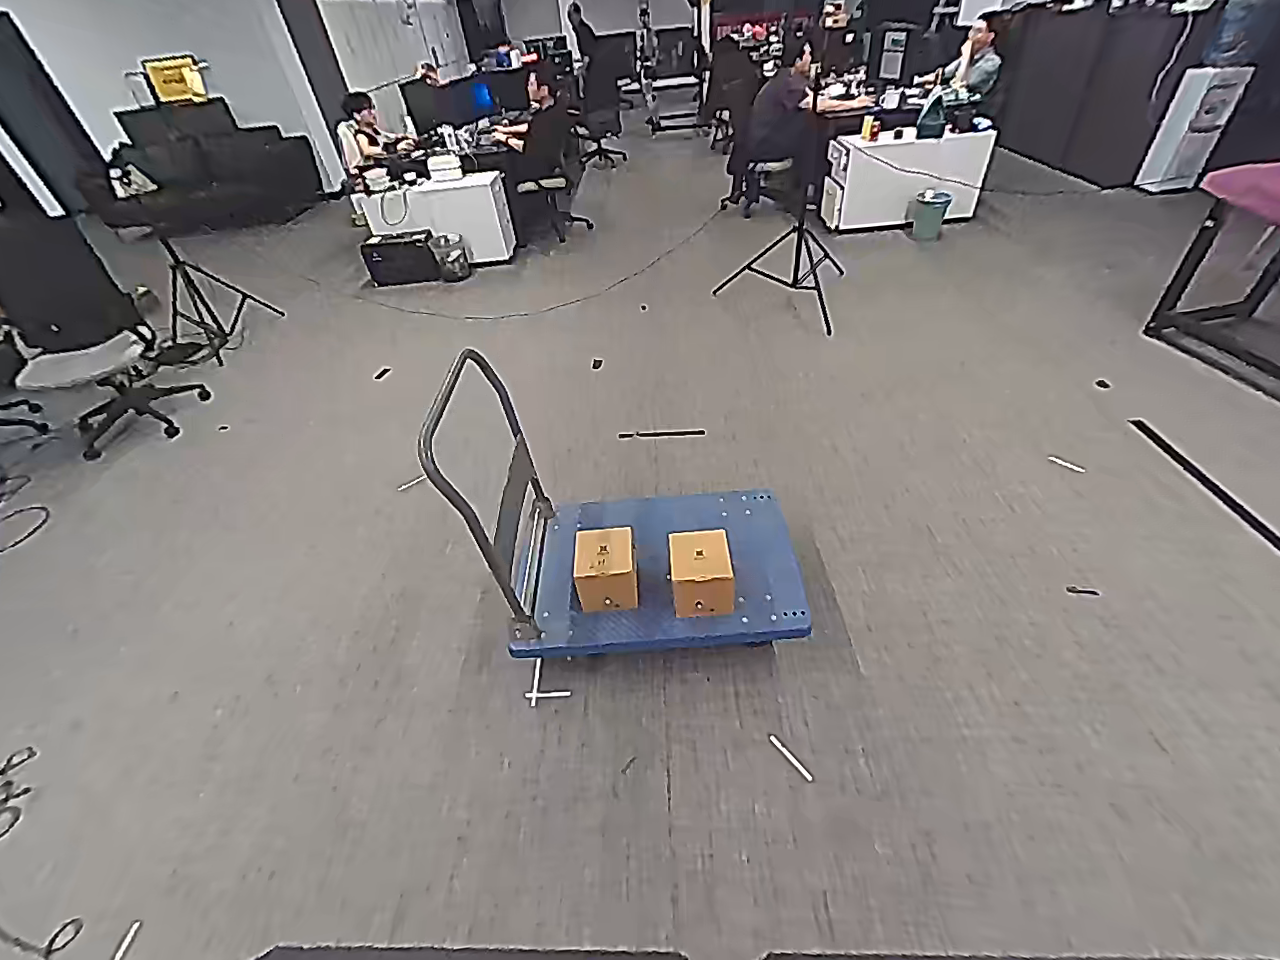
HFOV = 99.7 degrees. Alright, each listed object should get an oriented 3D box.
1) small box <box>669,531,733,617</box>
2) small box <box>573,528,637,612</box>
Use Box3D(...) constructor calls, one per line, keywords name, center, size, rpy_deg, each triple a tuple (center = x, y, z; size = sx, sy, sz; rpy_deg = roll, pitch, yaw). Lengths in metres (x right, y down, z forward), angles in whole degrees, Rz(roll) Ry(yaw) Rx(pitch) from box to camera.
Box3D(name="small box", center=(0.171, 0.270, 1.558), size=(0.168, 0.176, 0.179), rpy_deg=(-5, 41, 3))
Box3D(name="small box", center=(-0.099, 0.267, 1.598), size=(0.168, 0.176, 0.179), rpy_deg=(-6, 42, 2))
